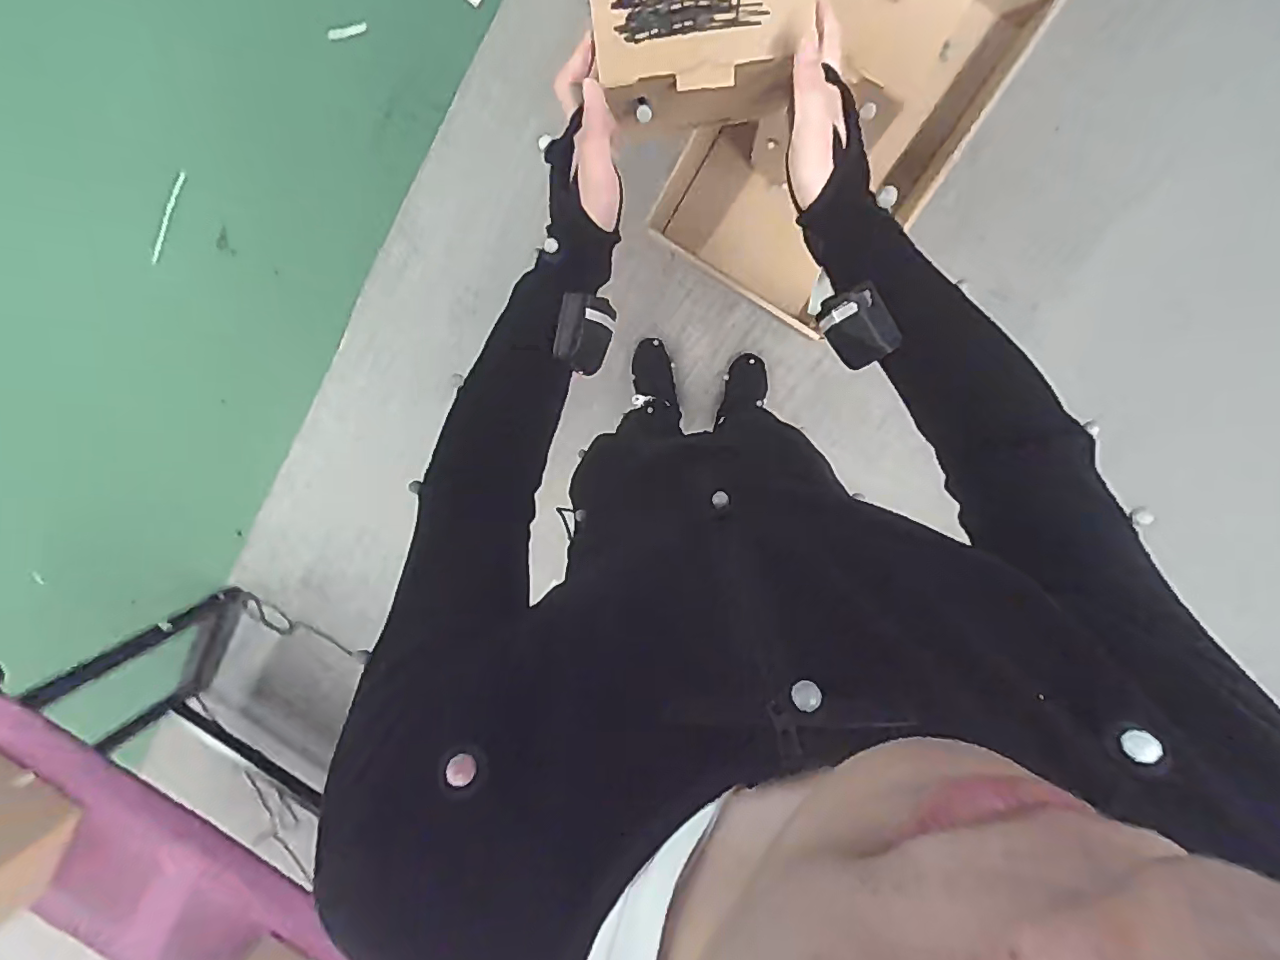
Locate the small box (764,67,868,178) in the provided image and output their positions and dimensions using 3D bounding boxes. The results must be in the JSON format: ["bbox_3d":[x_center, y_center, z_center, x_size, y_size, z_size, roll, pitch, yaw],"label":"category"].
[{"bbox_3d":[0.293,-0.575,0.778,0.168,0.176,0.179,31,105,0],"label":"small box"}]

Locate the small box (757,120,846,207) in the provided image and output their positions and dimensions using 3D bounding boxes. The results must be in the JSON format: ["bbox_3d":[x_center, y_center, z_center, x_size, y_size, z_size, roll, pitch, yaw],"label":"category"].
[{"bbox_3d":[0.316,-0.613,0.935,0.168,0.176,0.179,33,106,0],"label":"small box"}]

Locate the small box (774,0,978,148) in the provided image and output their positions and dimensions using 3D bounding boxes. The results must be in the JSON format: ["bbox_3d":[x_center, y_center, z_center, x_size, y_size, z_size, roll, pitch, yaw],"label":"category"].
[{"bbox_3d":[0.271,-0.531,0.623,0.168,0.176,0.179,30,107,-1],"label":"small box"}]

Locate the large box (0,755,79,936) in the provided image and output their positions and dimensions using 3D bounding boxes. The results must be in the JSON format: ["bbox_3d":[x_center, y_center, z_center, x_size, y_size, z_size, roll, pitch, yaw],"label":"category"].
[{"bbox_3d":[-1.641,0.930,1.255,0.320,0.320,0.408,35,107,-3],"label":"large box"}]
